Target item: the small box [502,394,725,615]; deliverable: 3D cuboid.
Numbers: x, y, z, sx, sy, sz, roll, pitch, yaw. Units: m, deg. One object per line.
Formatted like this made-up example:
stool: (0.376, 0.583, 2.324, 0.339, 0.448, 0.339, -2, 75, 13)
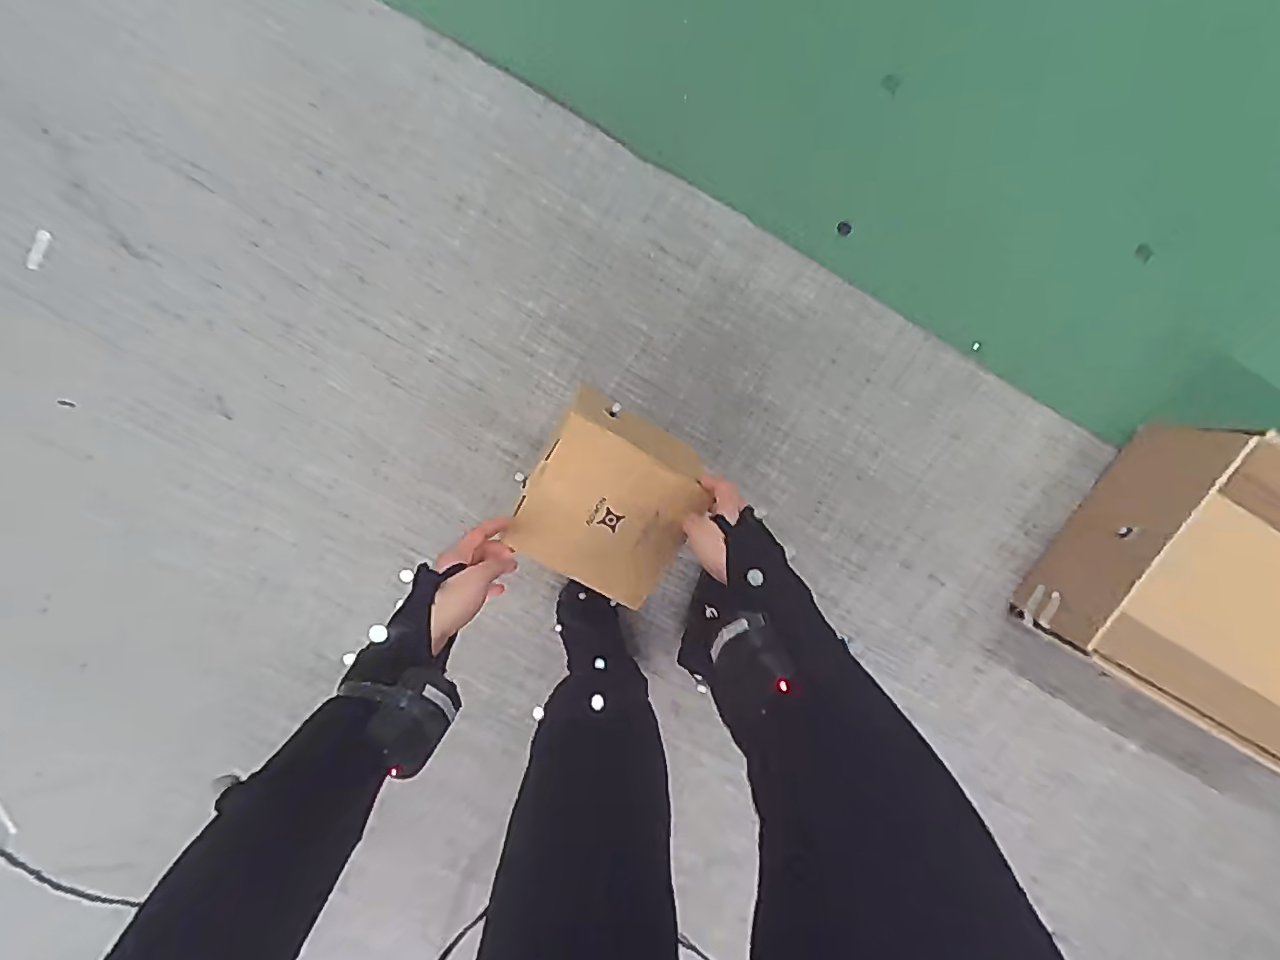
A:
small box: (-0.033, 0.016, 0.624, 0.179, 0.176, 0.168, 28, 107, -15)
